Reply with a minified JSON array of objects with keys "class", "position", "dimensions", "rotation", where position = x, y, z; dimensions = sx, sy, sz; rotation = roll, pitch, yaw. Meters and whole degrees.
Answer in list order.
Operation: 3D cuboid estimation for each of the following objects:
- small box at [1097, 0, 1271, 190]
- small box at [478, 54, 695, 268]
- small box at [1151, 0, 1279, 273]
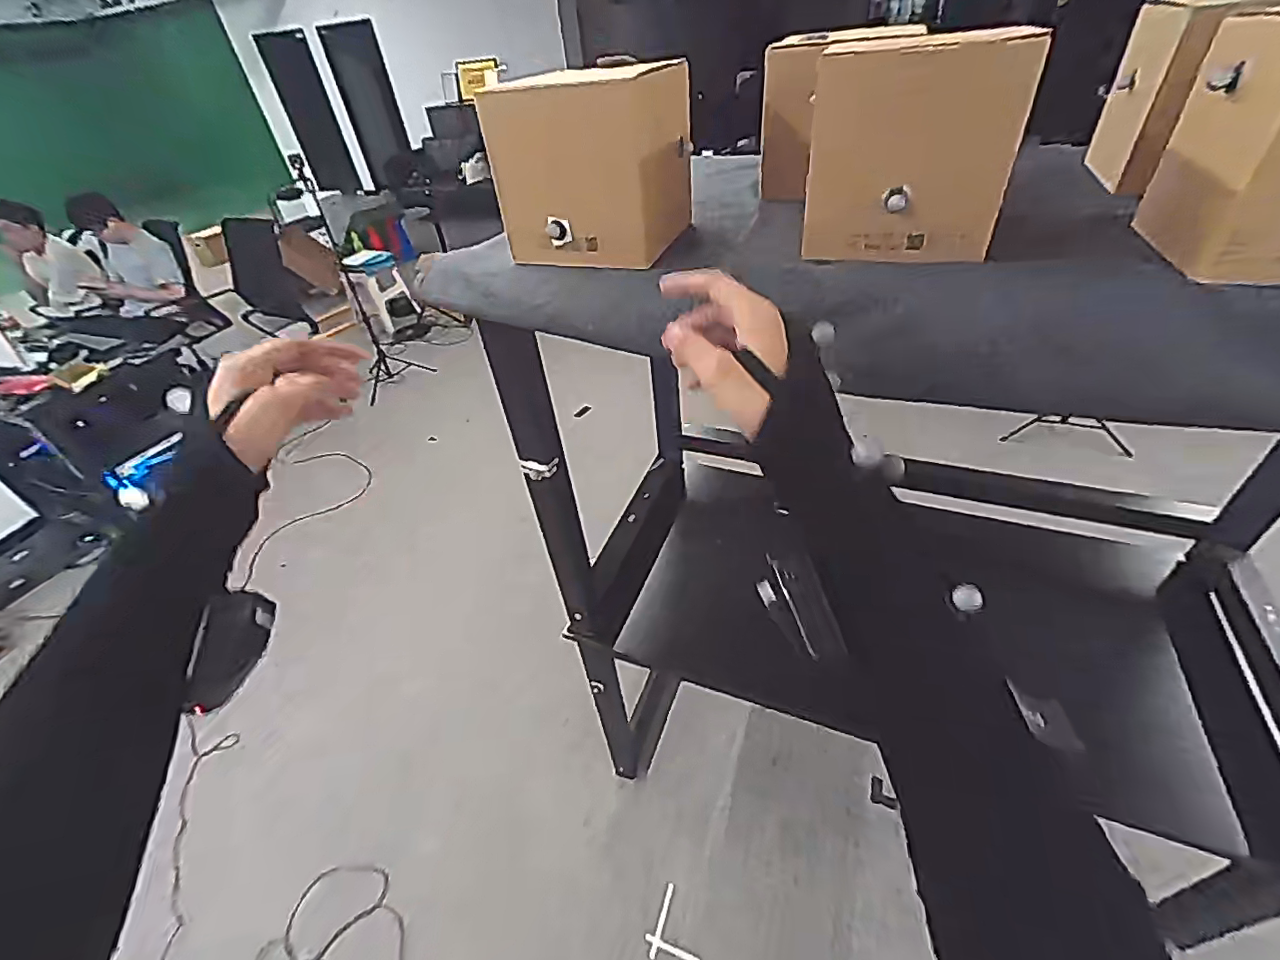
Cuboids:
[{"class":"small box","position":[0.640,-0.422,0.586],"dimensions":[0.168,0.176,0.179],"rotation":[10,42,20]},{"class":"small box","position":[-0.042,-0.344,0.585],"dimensions":[0.168,0.176,0.179],"rotation":[9,42,18]},{"class":"small box","position":[0.534,-0.251,0.395],"dimensions":[0.168,0.176,0.179],"rotation":[10,40,19]}]
